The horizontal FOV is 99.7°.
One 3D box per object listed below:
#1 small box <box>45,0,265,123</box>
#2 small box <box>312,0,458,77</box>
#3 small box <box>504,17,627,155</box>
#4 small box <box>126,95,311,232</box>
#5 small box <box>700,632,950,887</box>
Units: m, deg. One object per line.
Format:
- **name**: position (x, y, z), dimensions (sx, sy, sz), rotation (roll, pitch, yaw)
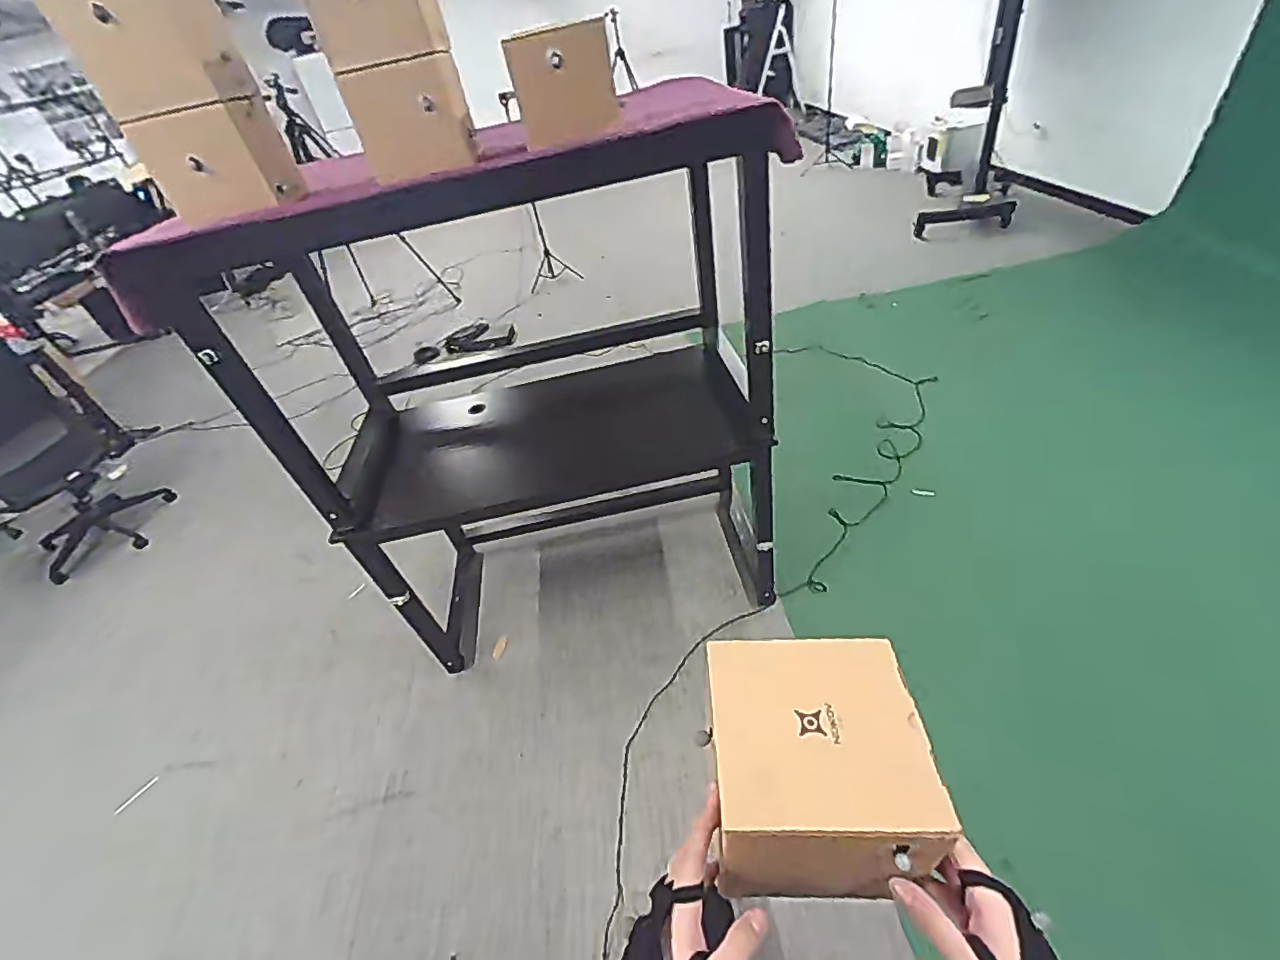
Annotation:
- **small box**: position (-0.767, -0.698, 0.876), dimensions (0.179, 0.176, 0.168), rotation (-12, 40, 0)
- **small box**: position (-0.426, -0.784, 0.887), dimensions (0.179, 0.176, 0.168), rotation (-11, 40, 3)
- **small box**: position (-0.128, -0.708, 0.976), dimensions (0.179, 0.176, 0.168), rotation (-11, 42, 2)
- **small box**: position (-0.741, -0.573, 0.980), dimensions (0.179, 0.176, 0.168), rotation (-14, 40, 0)
- **small box**: position (0.149, 0.262, 0.510), dimensions (0.179, 0.176, 0.168), rotation (-2, 39, 3)
